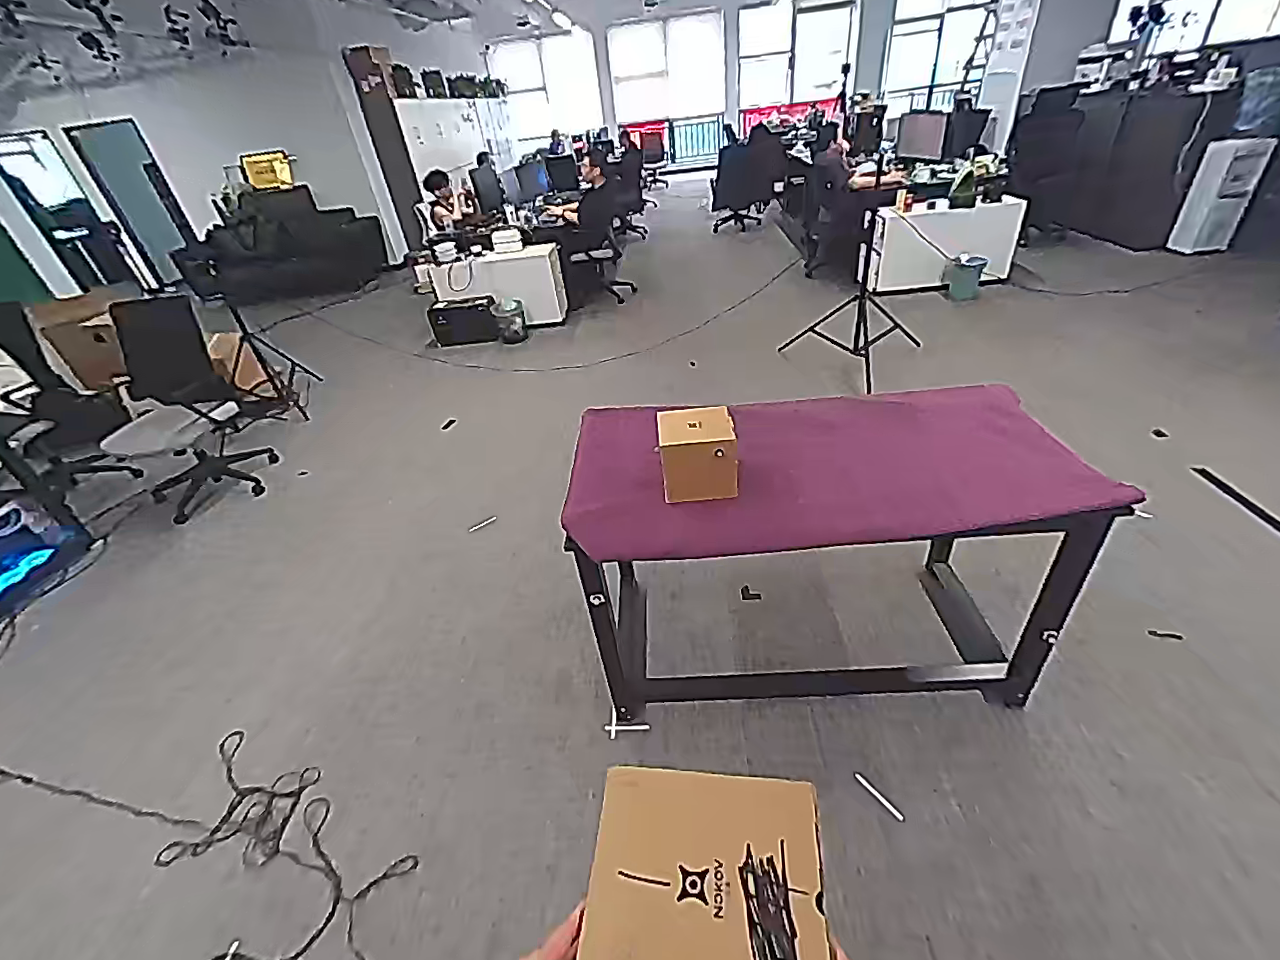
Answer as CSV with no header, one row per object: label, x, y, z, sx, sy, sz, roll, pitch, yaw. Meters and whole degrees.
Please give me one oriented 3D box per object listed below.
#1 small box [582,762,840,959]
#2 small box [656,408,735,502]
small box,0.060,0.363,0.448,0.179,0.176,0.168,0,37,10
small box,0.136,-0.060,1.332,0.179,0.176,0.168,-5,35,2
